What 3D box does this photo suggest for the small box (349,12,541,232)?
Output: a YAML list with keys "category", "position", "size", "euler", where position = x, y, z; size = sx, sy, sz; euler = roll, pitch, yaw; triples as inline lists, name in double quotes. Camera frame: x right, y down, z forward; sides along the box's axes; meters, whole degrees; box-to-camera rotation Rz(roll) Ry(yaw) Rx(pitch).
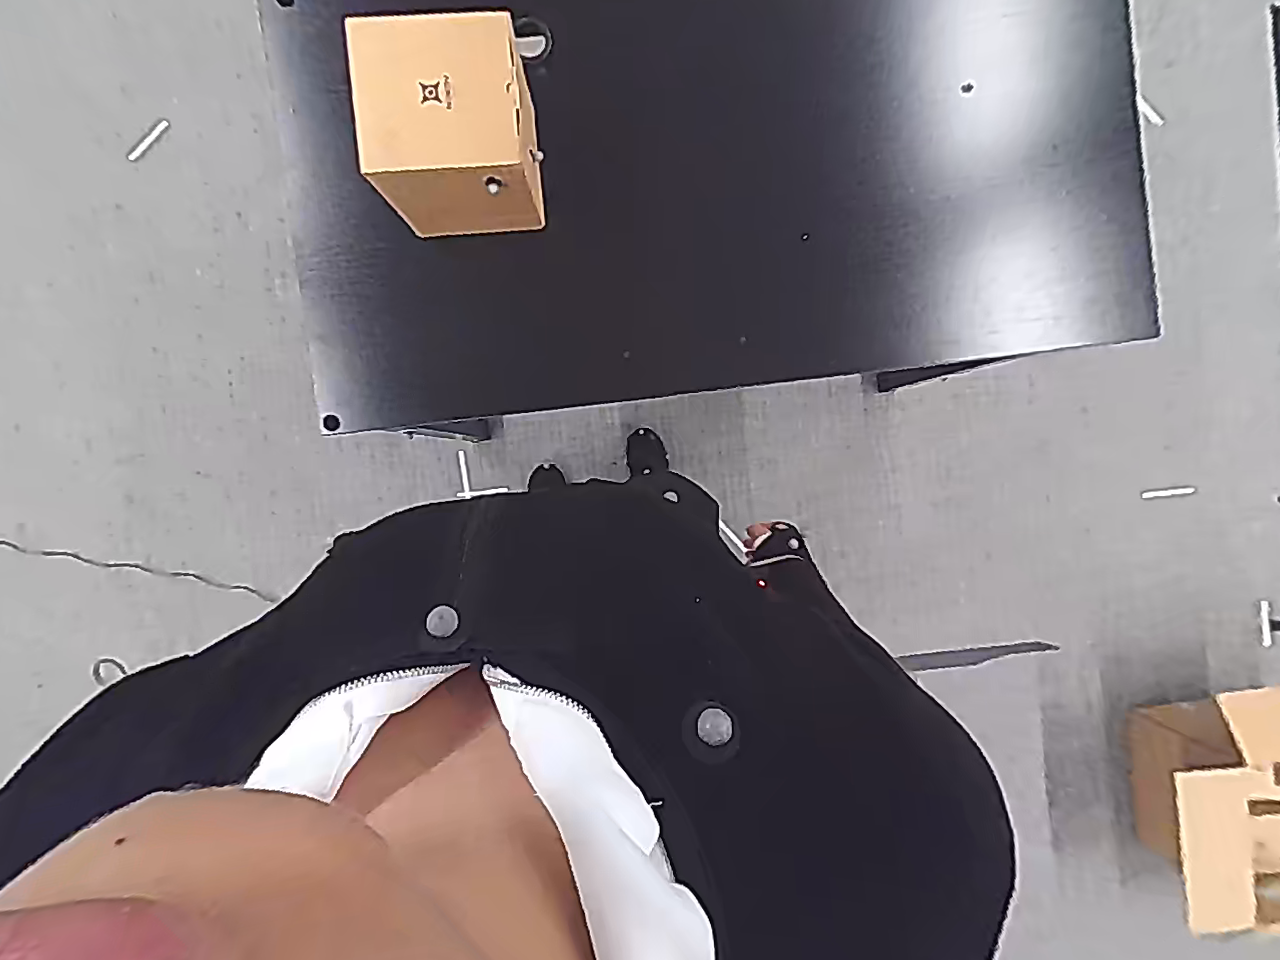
- category: "small box"
  position: [-0.226, -0.424, 0.669]
  size: [0.179, 0.176, 0.168]
  euler: [-5, 92, -3]
